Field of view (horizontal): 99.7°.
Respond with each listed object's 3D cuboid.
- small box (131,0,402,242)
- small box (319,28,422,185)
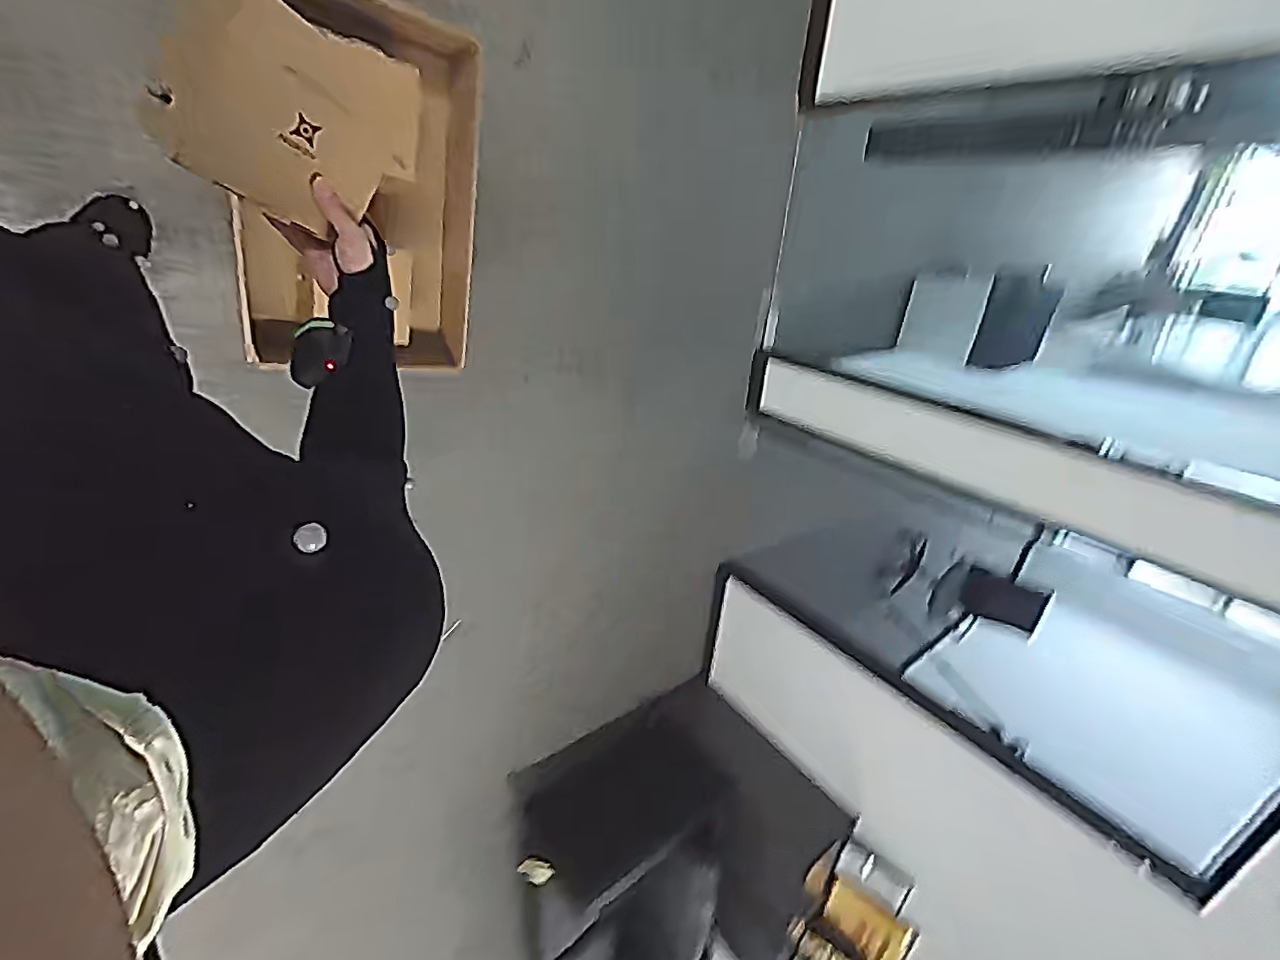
[{"bbox_3d":[-0.394,-0.396,0.569,0.179,0.176,0.168,-56,150,12],"label":"small box"},{"bbox_3d":[-0.499,-0.635,0.945,0.168,0.176,0.179,-4,114,-41],"label":"small box"}]
